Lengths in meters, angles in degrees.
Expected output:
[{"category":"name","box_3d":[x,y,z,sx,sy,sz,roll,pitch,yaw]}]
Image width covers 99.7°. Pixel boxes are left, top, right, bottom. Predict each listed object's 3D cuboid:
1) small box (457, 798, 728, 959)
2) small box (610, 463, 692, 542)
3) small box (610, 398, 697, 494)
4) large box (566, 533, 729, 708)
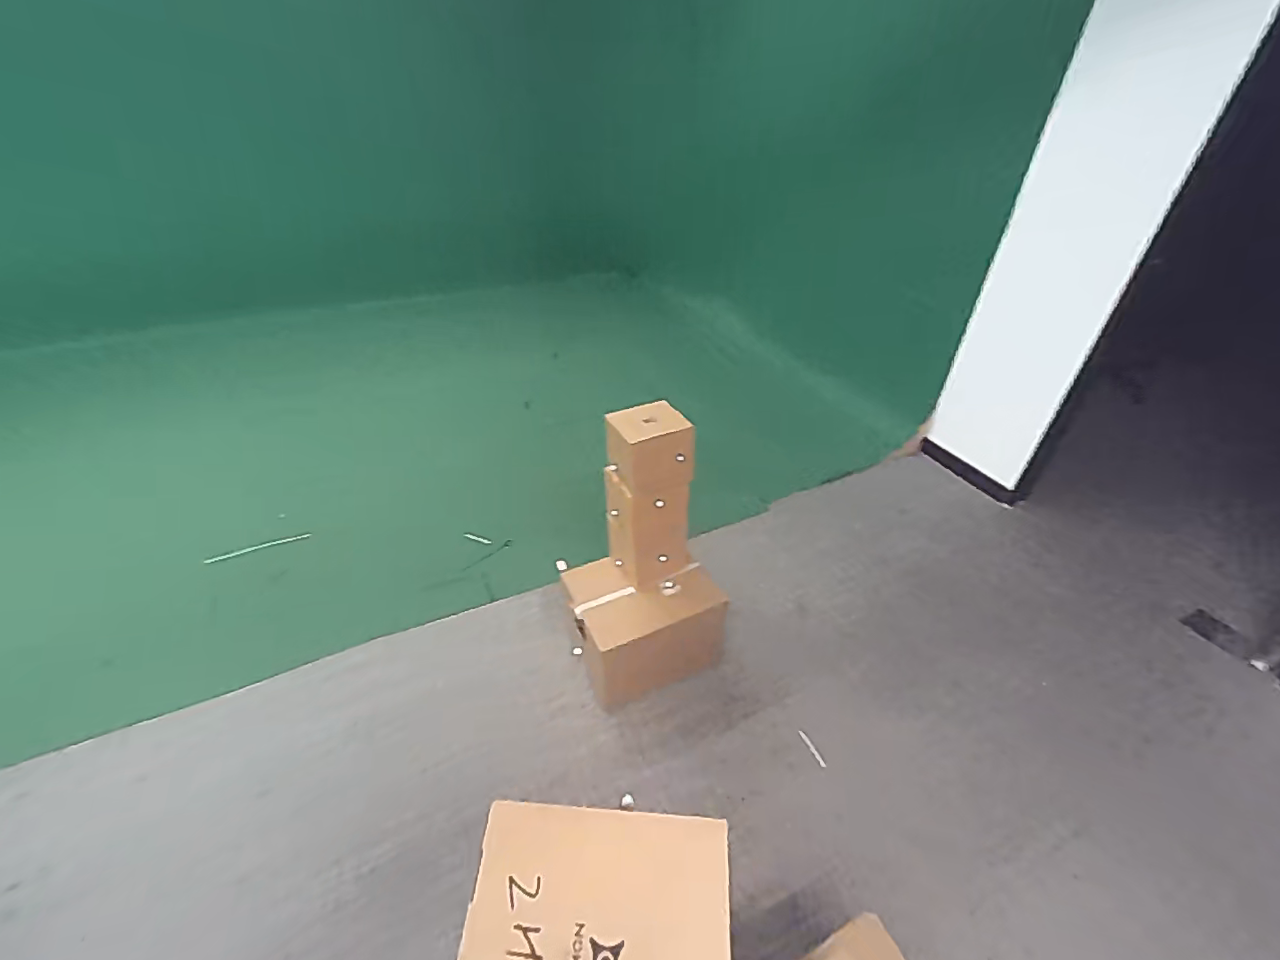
[{"category":"small box","box_3d":[-0.028,0.354,0.411,0.179,0.176,0.168,1,51,5]},{"category":"small box","box_3d":[0.029,0.042,1.507,0.179,0.176,0.168,-18,39,-20]},{"category":"small box","box_3d":[0.033,-0.089,1.410,0.179,0.176,0.168,-17,38,-18]},{"category":"large box","box_3d":[0.016,0.425,1.679,0.408,0.320,0.320,-16,41,-21]}]
